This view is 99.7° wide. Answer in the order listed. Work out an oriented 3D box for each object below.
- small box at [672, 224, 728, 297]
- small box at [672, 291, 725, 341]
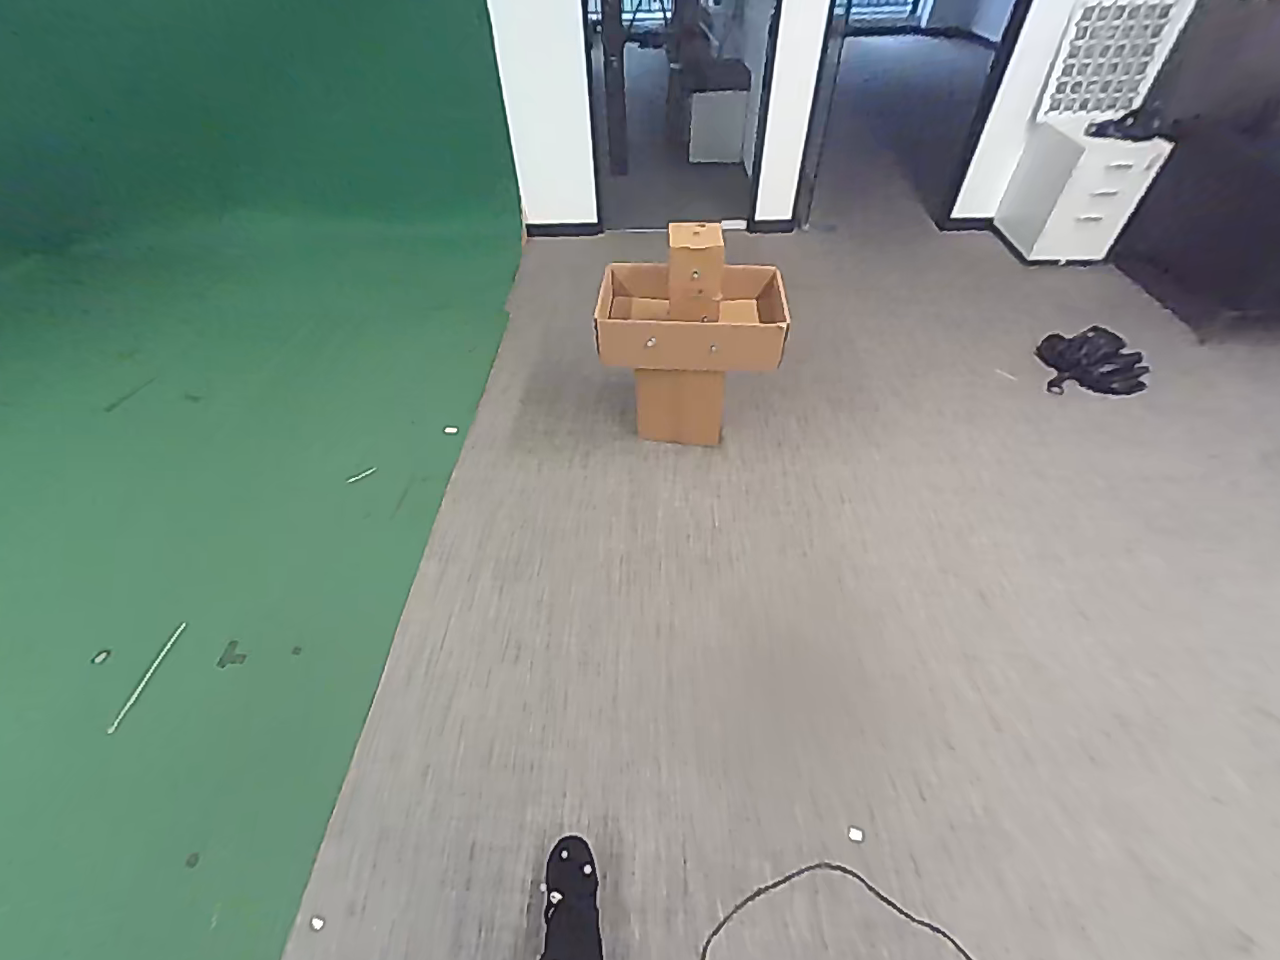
[{"bbox_3d":[0.190,-0.705,1.739,0.168,0.176,0.179,2,48,1],"label":"small box"},{"bbox_3d":[0.198,-0.591,1.857,0.168,0.176,0.179,1,45,1],"label":"small box"}]
